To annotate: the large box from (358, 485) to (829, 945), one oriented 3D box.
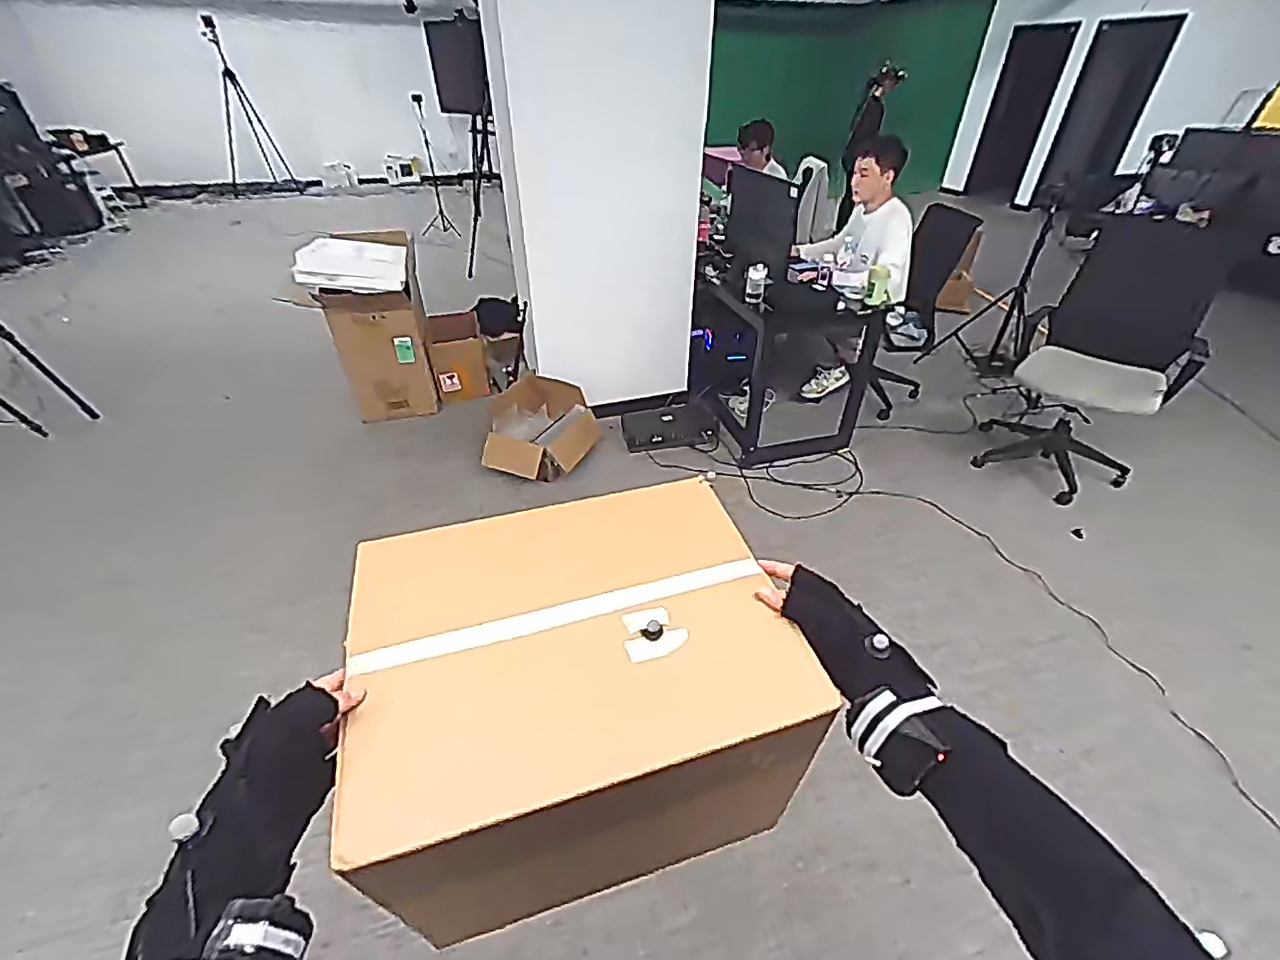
[{"bbox_3d":[-0.066,0.252,0.634,0.408,0.320,0.320,-11,43,-14],"label":"large box"}]
